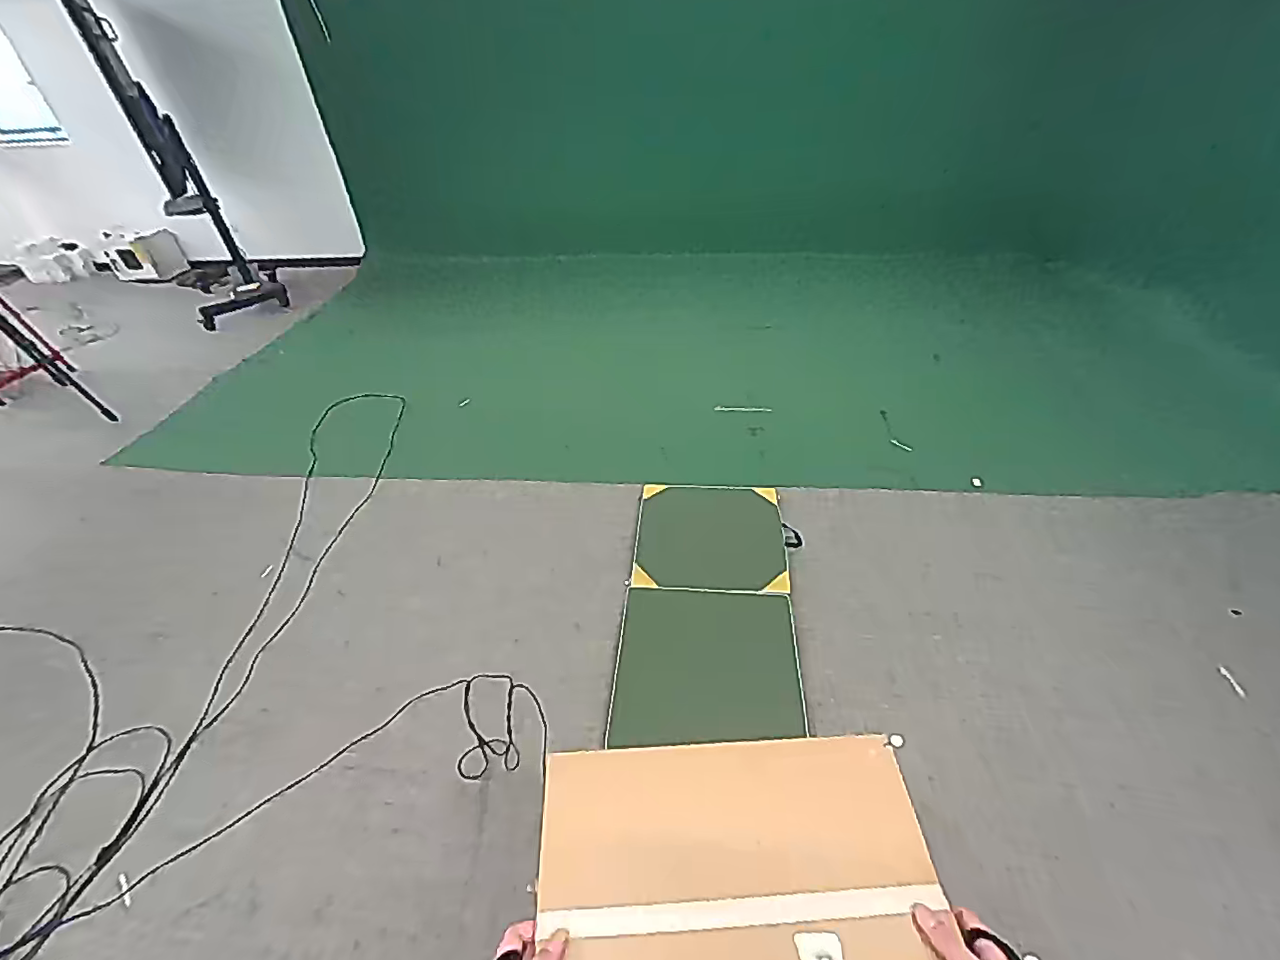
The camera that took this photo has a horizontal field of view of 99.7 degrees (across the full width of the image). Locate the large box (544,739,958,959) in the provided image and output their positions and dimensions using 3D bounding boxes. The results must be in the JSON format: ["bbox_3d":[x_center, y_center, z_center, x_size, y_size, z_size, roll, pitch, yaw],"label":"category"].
[{"bbox_3d":[0.104,0.539,0.647,0.408,0.320,0.320,-3,46,-2],"label":"large box"}]
